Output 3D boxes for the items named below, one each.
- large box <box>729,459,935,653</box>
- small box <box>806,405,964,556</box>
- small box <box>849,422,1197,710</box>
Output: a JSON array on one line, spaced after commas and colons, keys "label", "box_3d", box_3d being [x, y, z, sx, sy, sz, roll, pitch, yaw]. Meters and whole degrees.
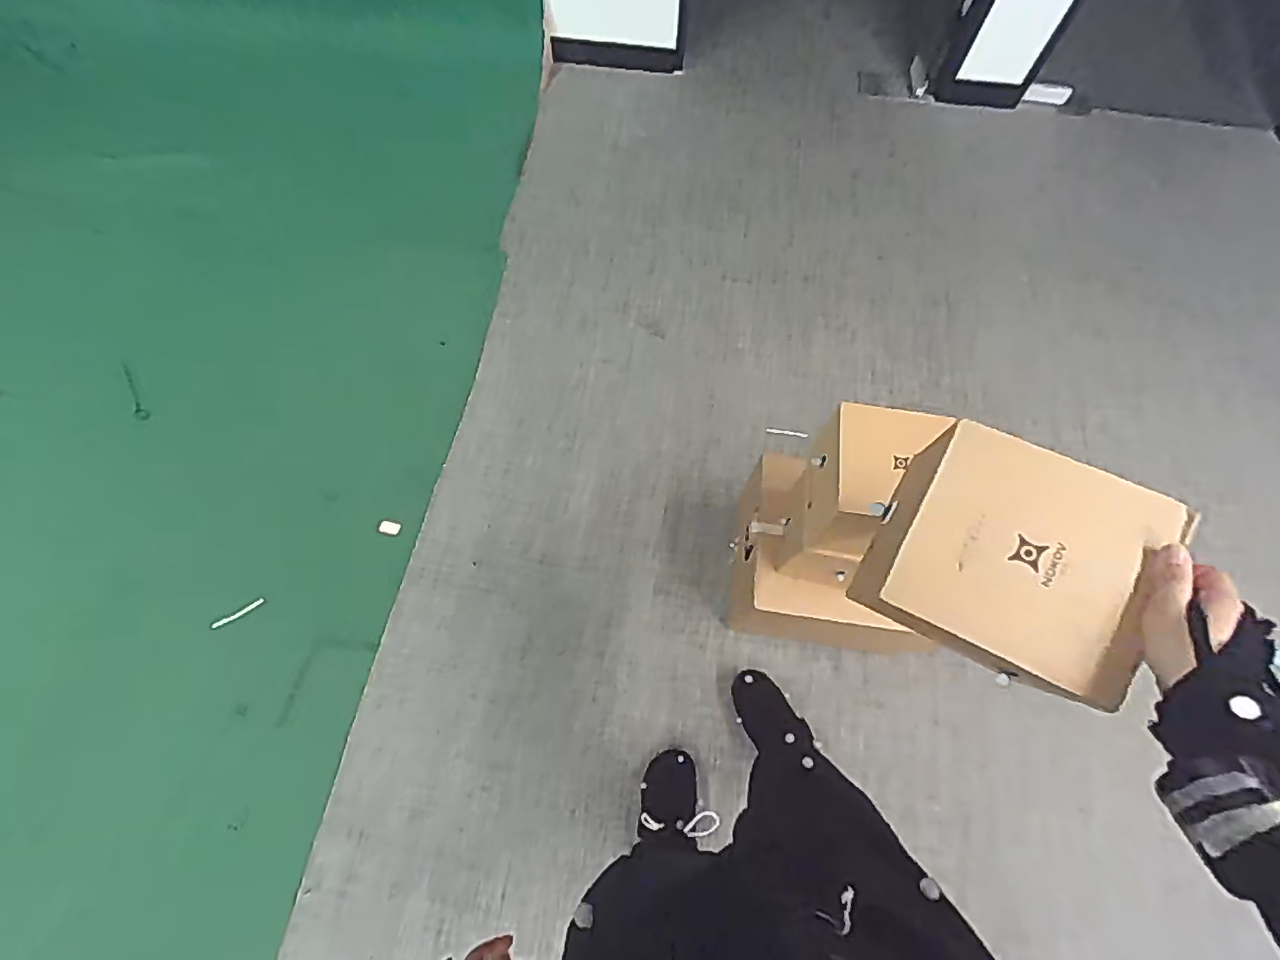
[{"label": "large box", "box_3d": [0.420, 0.177, 1.158, 0.408, 0.320, 0.320, 8, 69, 1]}, {"label": "small box", "box_3d": [0.350, 0.014, 0.783, 0.179, 0.176, 0.168, 9, 67, 3]}, {"label": "small box", "box_3d": [0.315, 0.074, 0.488, 0.179, 0.176, 0.168, 25, 83, 16]}]
